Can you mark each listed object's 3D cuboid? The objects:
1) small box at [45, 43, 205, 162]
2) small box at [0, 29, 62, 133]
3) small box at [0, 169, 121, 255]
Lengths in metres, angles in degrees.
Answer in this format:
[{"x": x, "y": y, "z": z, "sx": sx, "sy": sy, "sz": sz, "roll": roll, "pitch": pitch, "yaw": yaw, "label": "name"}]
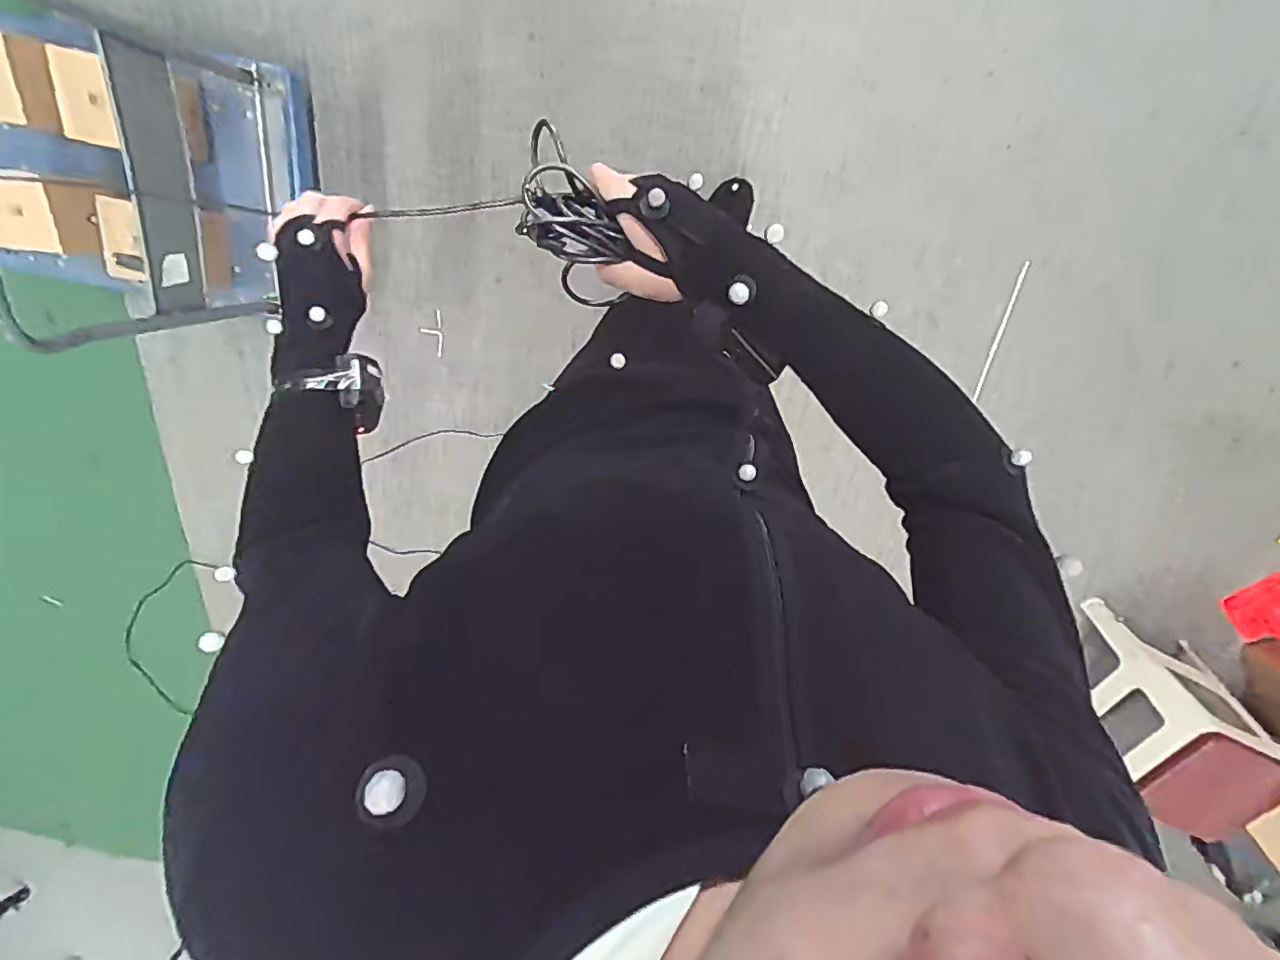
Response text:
[{"x": -1.105, "y": -0.808, "z": 1.175, "sx": 0.179, "sy": 0.176, "sz": 0.168, "roll": 12, "pitch": 114, "yaw": 0, "label": "small box"}, {"x": -1.356, "y": -0.865, "z": 1.175, "sx": 0.179, "sy": 0.176, "sz": 0.168, "roll": 9, "pitch": 115, "yaw": 1, "label": "small box"}, {"x": -1.393, "y": -0.634, "z": 1.280, "sx": 0.179, "sy": 0.176, "sz": 0.168, "roll": 8, "pitch": 113, "yaw": 2, "label": "small box"}]
